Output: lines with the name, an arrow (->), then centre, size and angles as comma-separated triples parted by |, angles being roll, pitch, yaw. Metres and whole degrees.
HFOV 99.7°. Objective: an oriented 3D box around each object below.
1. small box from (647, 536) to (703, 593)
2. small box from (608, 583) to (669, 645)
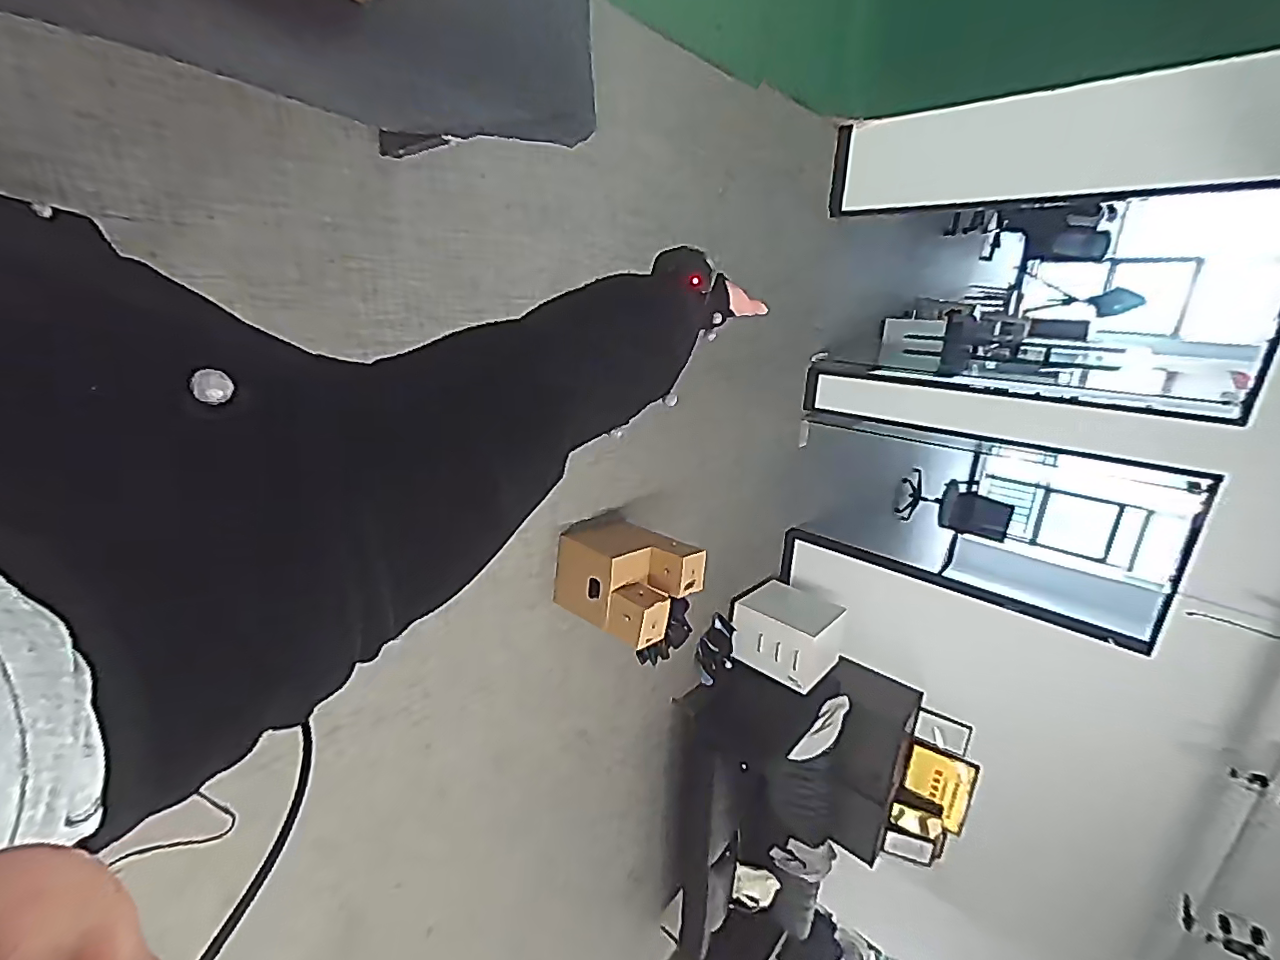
small box -> 0.144, 0.350, 2.262 | 0.168, 0.176, 0.179 | -8, 106, -50
small box -> -0.010, 0.518, 2.130 | 0.168, 0.176, 0.179 | -9, 111, -51
